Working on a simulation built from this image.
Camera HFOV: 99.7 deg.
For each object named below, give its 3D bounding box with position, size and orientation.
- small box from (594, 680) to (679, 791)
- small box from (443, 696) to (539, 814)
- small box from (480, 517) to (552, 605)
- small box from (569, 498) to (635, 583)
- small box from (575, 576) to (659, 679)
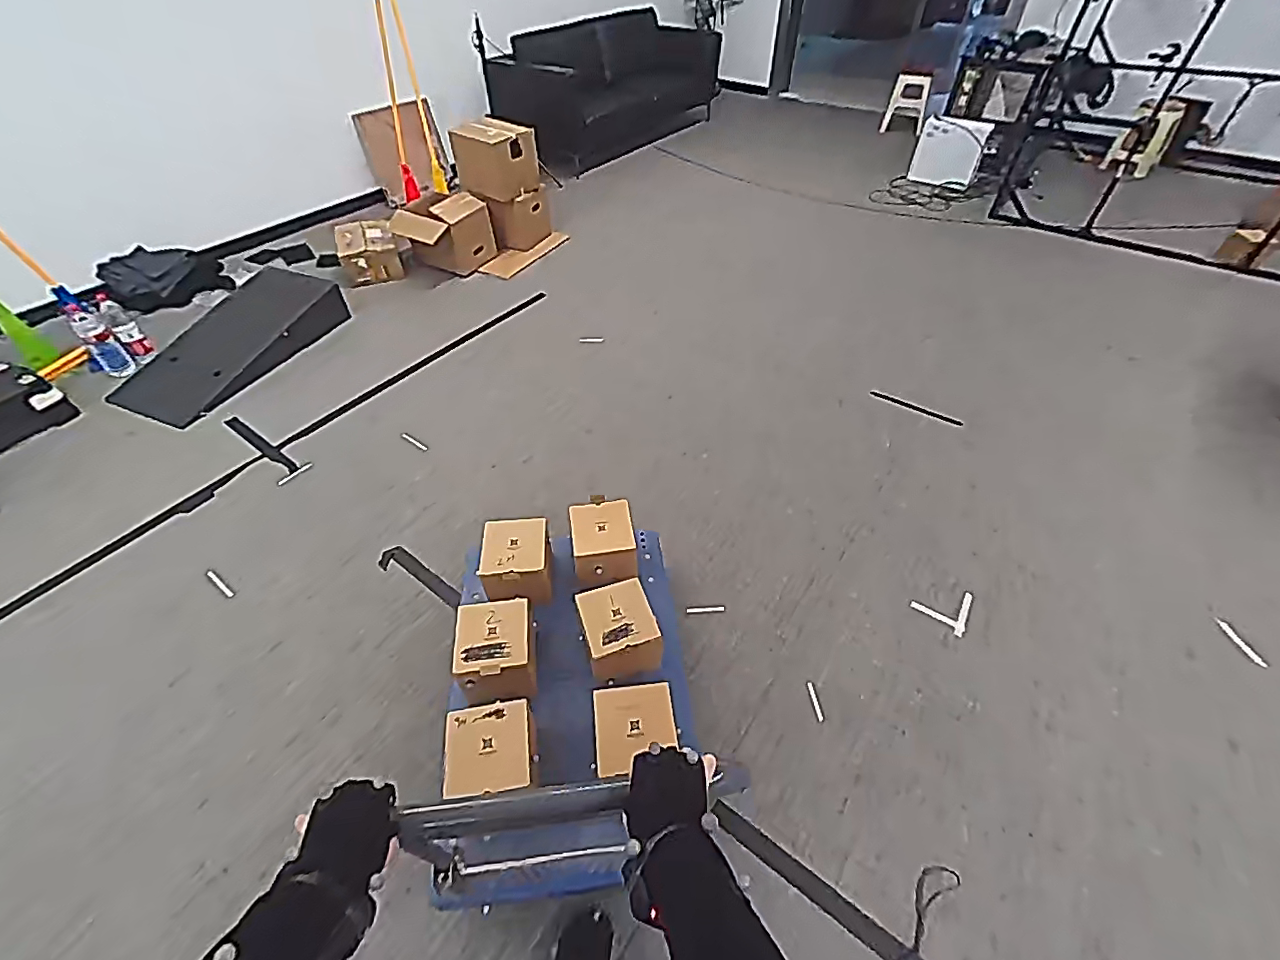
[{"bbox_3d":[-0.011,0.559,1.174,0.168,0.176,0.179,-4,46,-6],"label":"small box"},{"bbox_3d":[-0.306,0.585,1.140,0.168,0.176,0.179,-6,47,-8],"label":"small box"},{"bbox_3d":[-0.333,0.222,1.482,0.168,0.176,0.179,-3,48,-4],"label":"small box"},{"bbox_3d":[-0.107,0.178,1.531,0.168,0.176,0.179,-7,47,-7],"label":"small box"},{"bbox_3d":[-0.056,0.373,1.347,0.168,0.176,0.179,-13,48,-14],"label":"small box"}]
